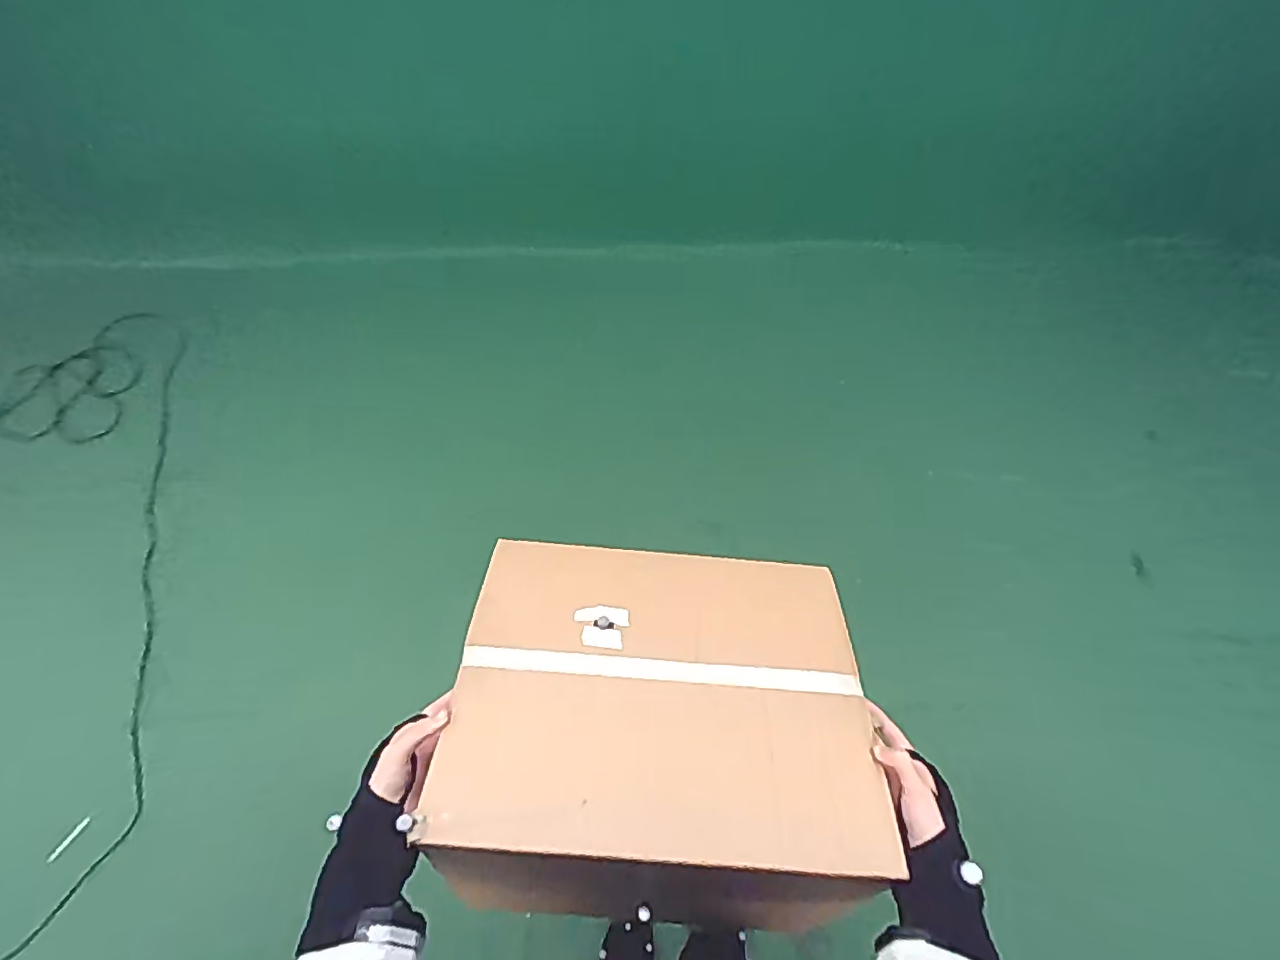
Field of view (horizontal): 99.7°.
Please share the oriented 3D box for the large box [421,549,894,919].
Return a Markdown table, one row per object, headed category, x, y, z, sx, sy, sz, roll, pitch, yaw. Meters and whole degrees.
| category | x | y | z | sx | sy | sz | roll | pitch | yaw |
| --- | --- | --- | --- | --- | --- | --- | --- | --- | --- |
| large box | 0.015 | 0.310 | 0.656 | 0.408 | 0.320 | 0.320 | 5 | 44 | 0 |
